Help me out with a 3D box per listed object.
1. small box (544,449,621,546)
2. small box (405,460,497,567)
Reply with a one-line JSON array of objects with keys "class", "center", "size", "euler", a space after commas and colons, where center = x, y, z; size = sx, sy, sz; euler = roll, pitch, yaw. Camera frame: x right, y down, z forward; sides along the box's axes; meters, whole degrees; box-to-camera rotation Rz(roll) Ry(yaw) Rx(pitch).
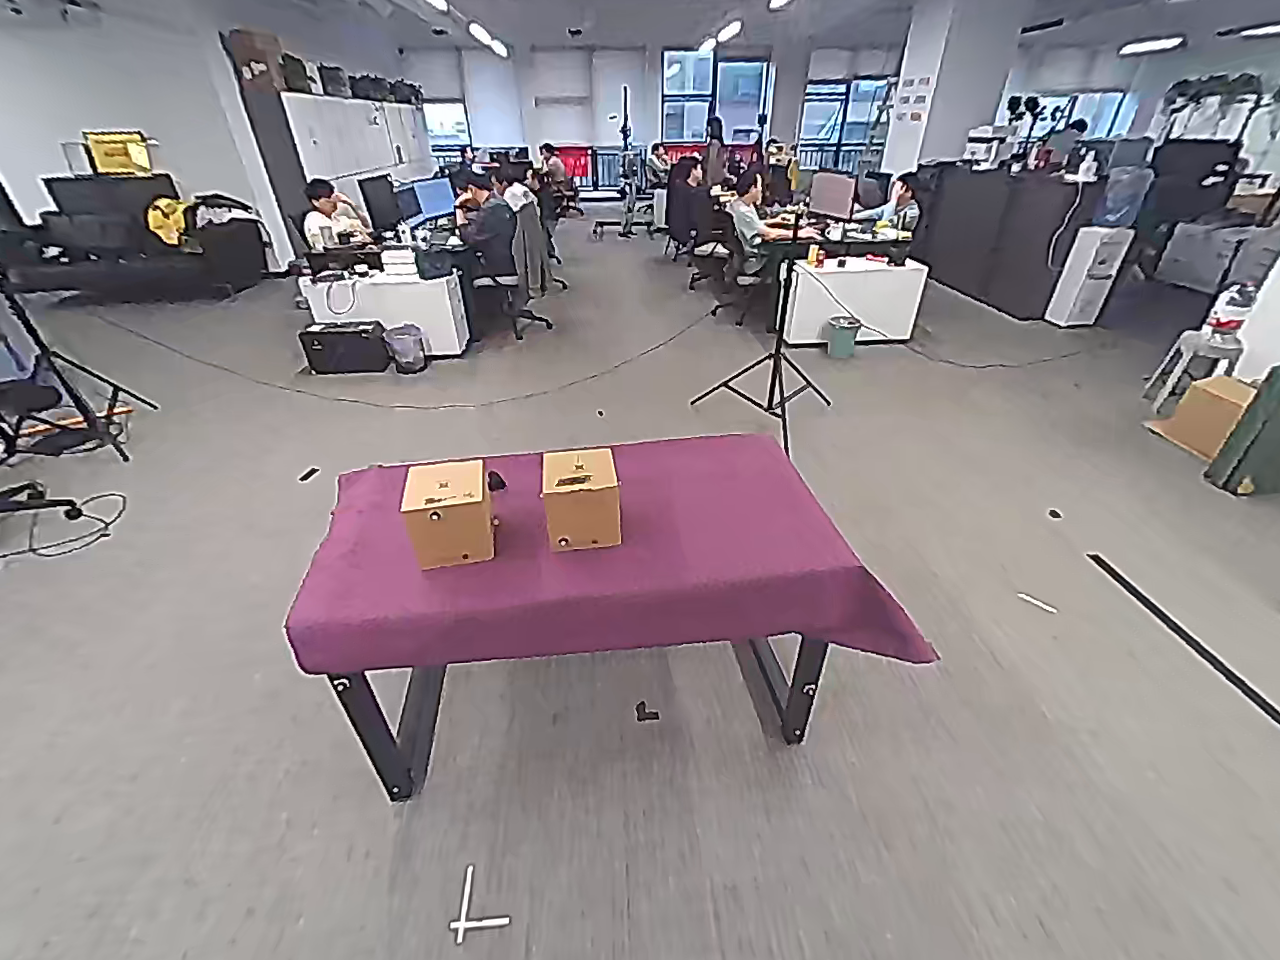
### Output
[{"class": "small box", "center": [-0.135, 0.044, 1.285], "size": [0.168, 0.176, 0.179], "euler": [-4, 32, -6]}, {"class": "small box", "center": [-0.425, 0.075, 1.241], "size": [0.168, 0.176, 0.179], "euler": [-8, 33, -11]}]
